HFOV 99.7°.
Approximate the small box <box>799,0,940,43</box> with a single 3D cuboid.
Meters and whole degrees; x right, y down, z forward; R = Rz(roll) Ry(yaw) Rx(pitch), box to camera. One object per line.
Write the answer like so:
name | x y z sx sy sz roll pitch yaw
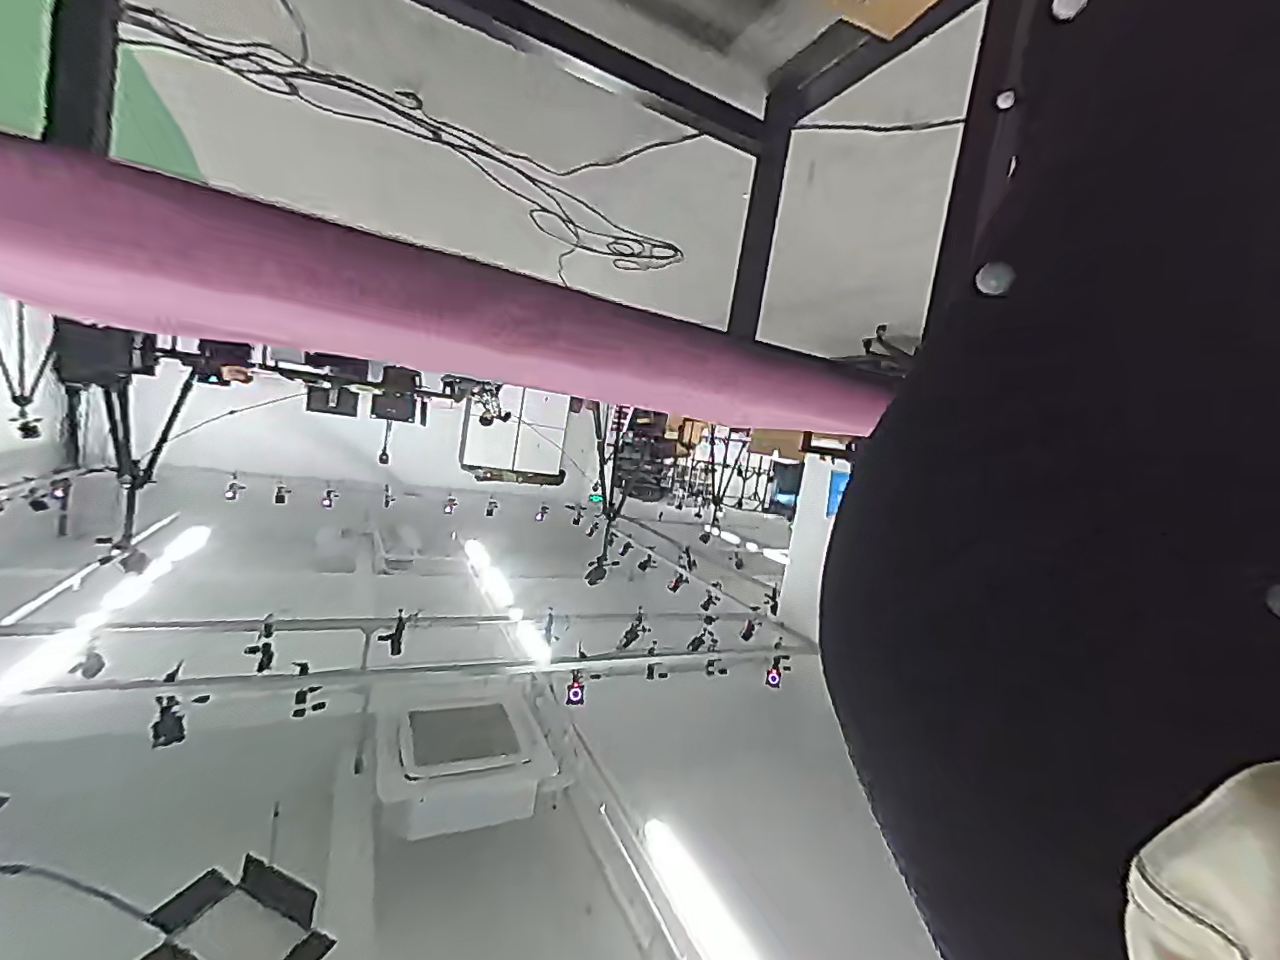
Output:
small box | 0.326 -0.716 0.675 0.168 0.176 0.179 8 -175 -19
